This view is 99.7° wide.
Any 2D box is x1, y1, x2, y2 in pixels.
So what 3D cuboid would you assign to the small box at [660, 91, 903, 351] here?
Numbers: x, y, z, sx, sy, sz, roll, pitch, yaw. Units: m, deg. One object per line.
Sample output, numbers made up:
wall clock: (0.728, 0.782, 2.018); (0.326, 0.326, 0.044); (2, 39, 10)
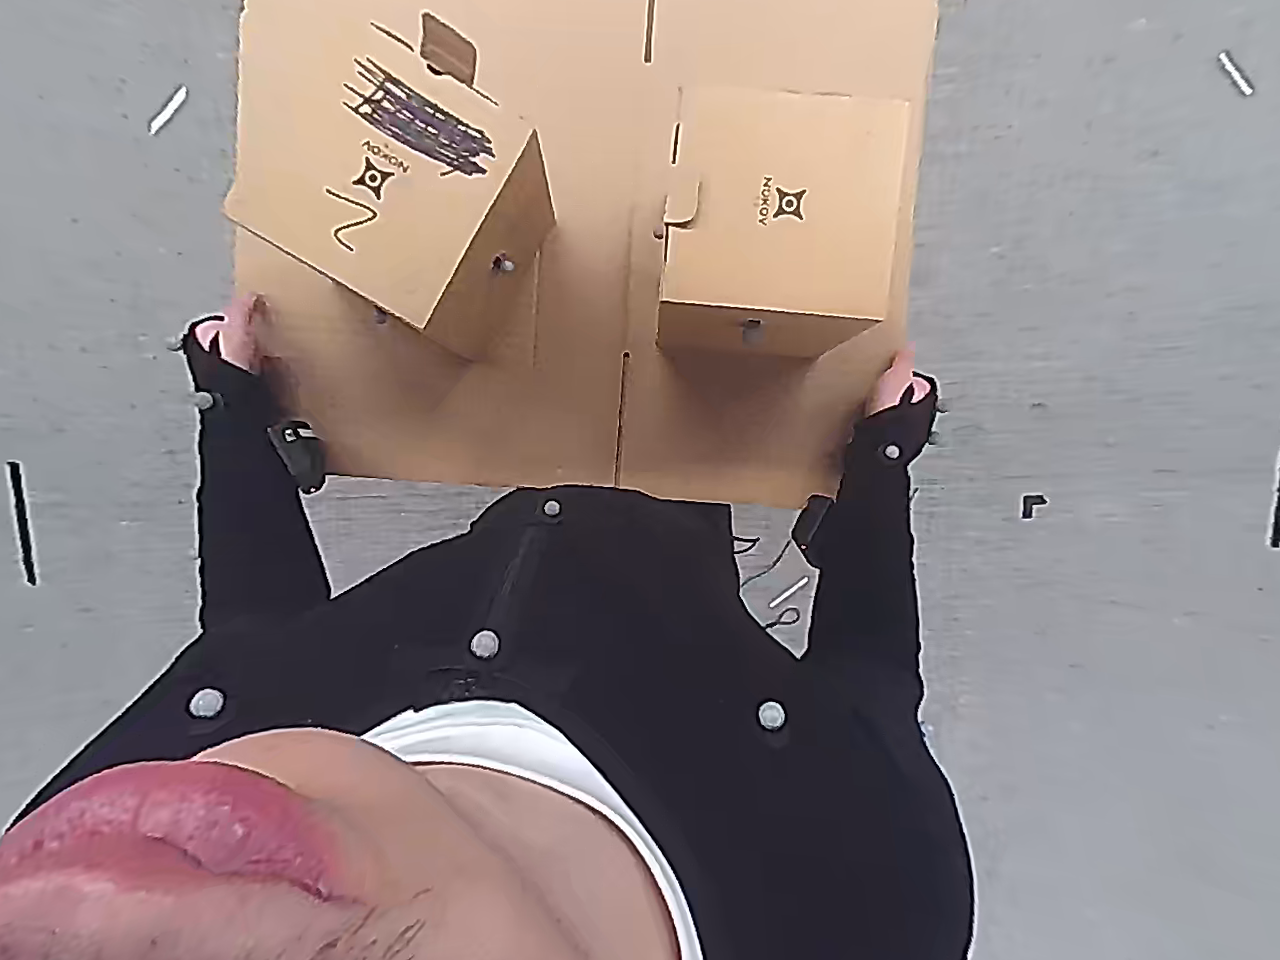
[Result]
small box: (0.114, -0.220, 0.507); (0.179, 0.176, 0.168); (5, 93, 2)
